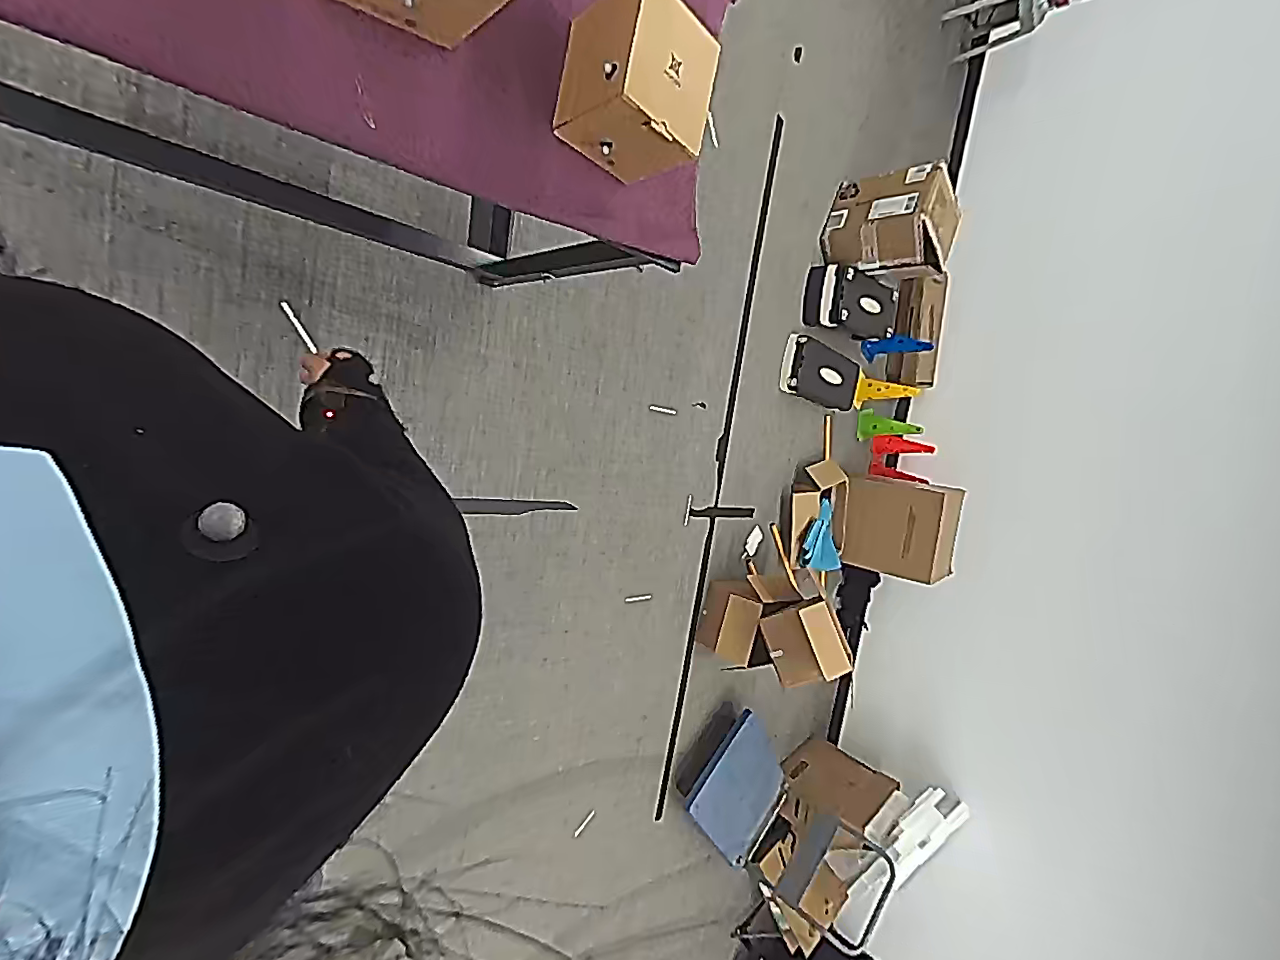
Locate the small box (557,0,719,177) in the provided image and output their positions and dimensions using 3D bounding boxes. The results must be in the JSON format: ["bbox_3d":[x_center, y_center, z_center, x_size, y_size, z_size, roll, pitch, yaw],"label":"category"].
[{"bbox_3d":[-0.007,-0.604,0.829,0.168,0.176,0.179,9,94,-45],"label":"small box"}]

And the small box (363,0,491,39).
[{"bbox_3d":[-0.247,-0.629,0.583,0.168,0.176,0.179,-9,107,-44],"label":"small box"}]
